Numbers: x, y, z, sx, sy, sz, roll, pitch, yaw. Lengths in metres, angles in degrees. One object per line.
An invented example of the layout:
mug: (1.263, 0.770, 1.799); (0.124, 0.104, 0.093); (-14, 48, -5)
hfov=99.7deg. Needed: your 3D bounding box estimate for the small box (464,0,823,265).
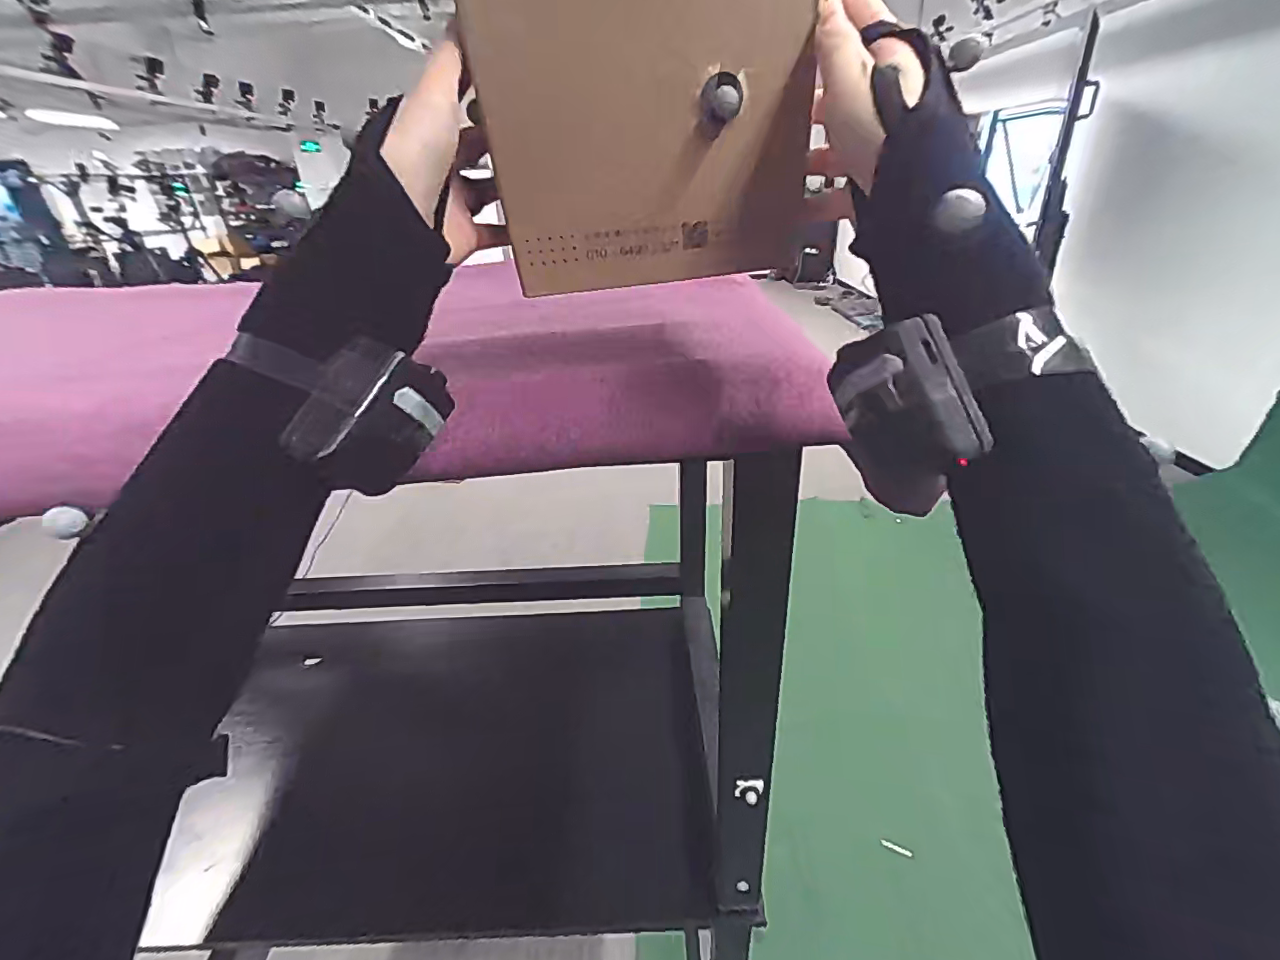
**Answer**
small box: (0.004, -0.239, 0.324); (0.168, 0.176, 0.179); (-5, 42, 0)
